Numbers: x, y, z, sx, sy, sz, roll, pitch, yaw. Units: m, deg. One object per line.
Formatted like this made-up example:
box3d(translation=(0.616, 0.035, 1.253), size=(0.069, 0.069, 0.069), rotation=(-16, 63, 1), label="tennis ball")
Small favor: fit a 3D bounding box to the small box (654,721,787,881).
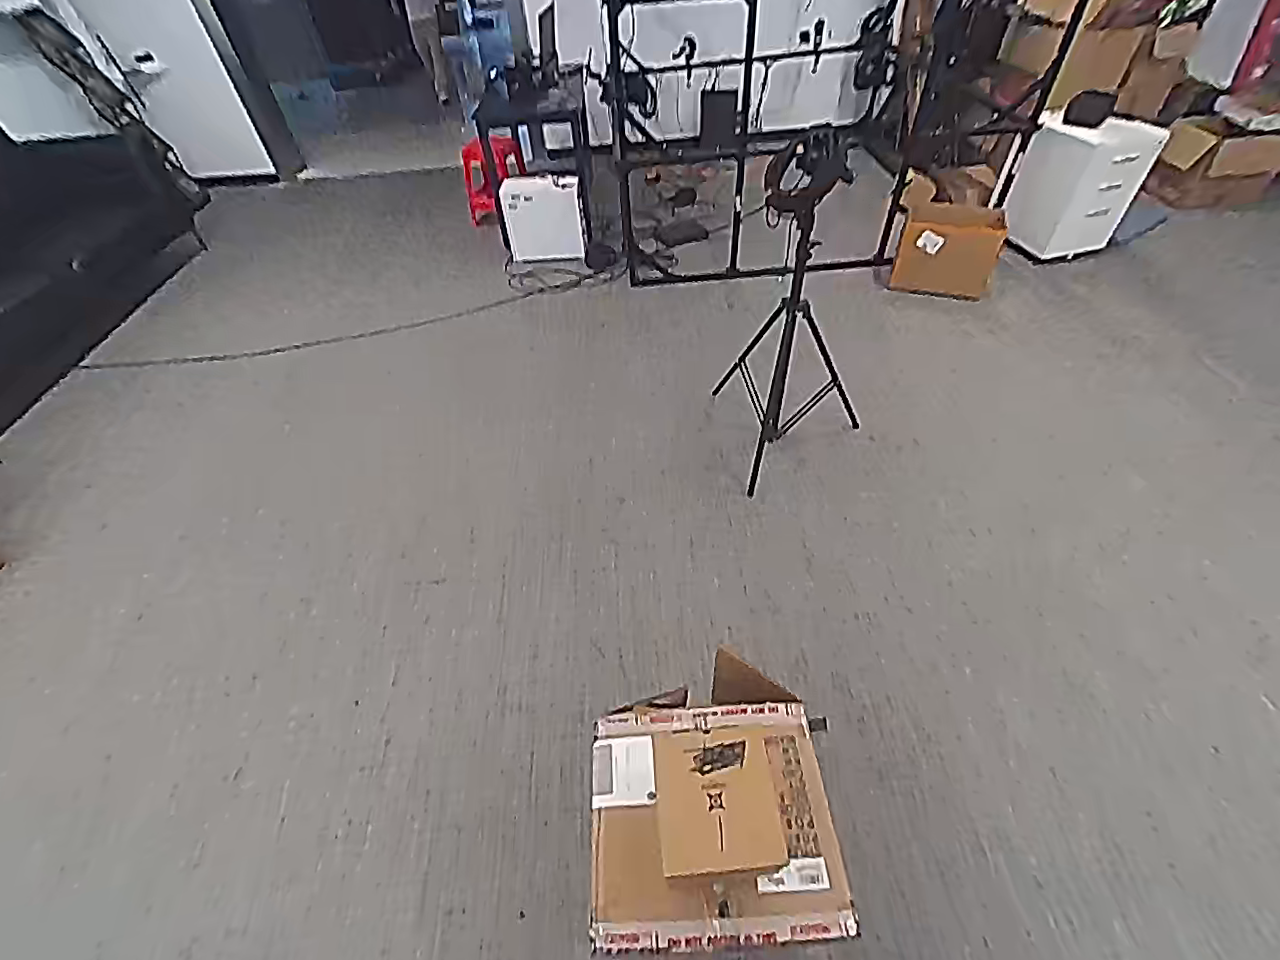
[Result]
box3d(translation=(0.108, 0.483, 0.812), size=(0.168, 0.176, 0.179), rotation=(-5, 50, 0), label="small box")
